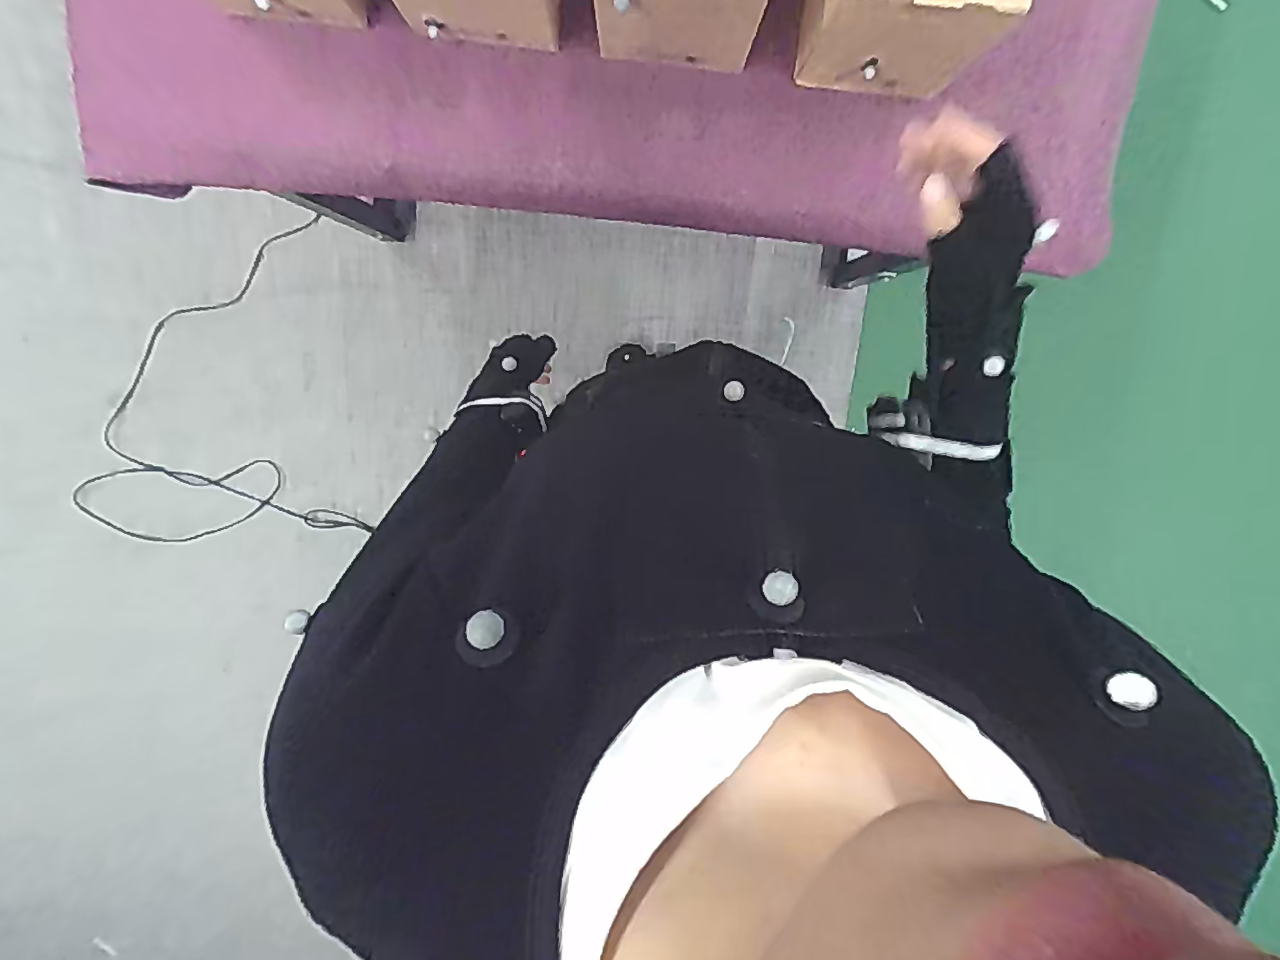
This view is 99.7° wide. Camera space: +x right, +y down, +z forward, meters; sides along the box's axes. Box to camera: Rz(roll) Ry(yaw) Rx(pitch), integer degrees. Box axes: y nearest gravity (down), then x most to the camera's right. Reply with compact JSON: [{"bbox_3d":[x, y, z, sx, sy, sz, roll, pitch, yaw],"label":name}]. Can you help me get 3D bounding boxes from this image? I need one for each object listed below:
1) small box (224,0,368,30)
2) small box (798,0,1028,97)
[{"bbox_3d":[-0.380,-0.587,0.516,0.168,0.176,0.179,5,104,-1],"label":"small box"},{"bbox_3d":[0.268,-0.523,0.536,0.168,0.176,0.179,5,104,-1],"label":"small box"}]
